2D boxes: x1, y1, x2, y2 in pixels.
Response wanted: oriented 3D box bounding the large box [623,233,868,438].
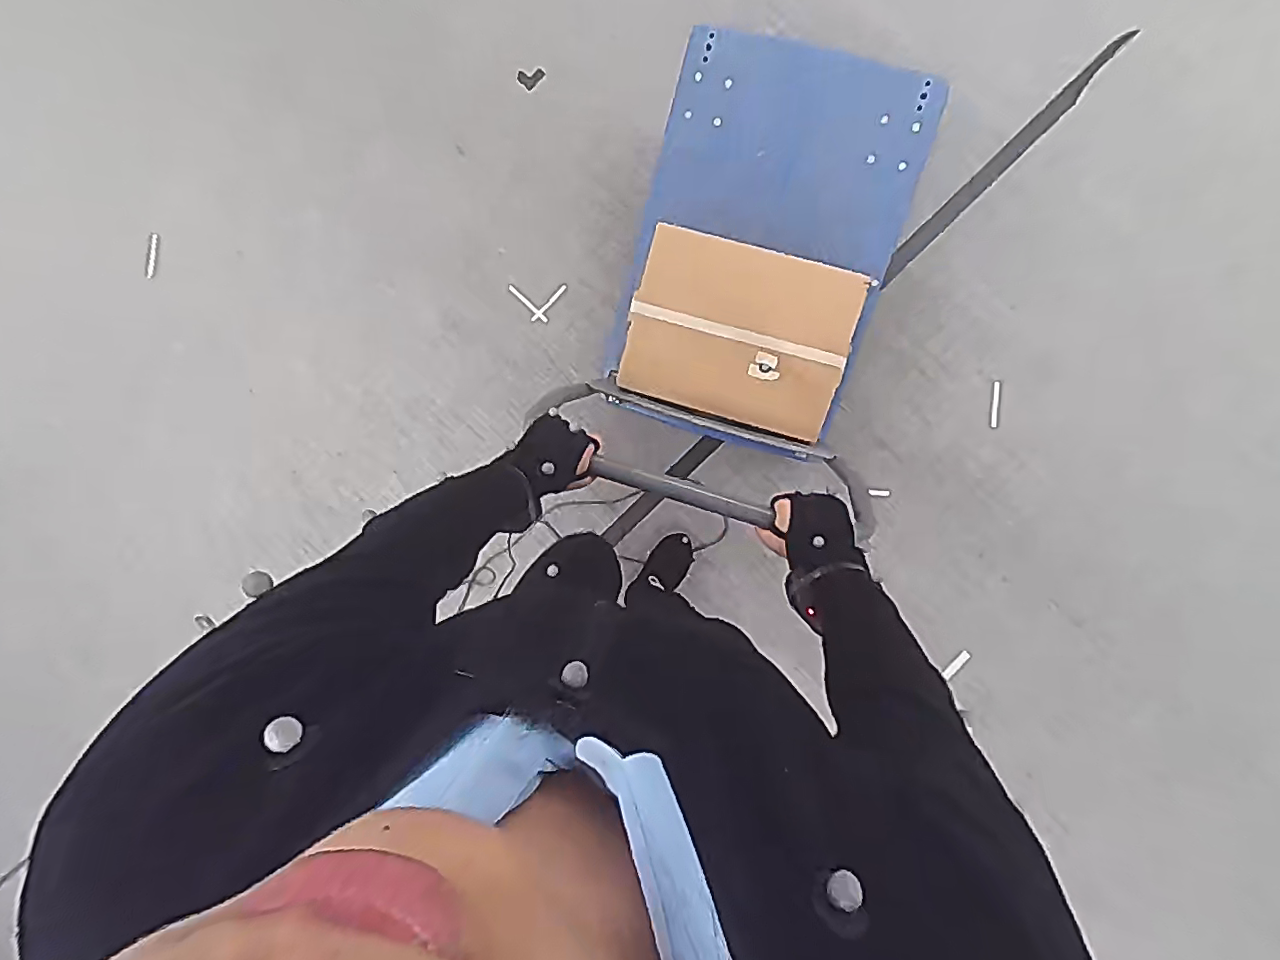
[{"bbox_3d":[0.207,-0.297,1.173,0.408,0.320,0.320,16,102,4],"label":"large box"}]
